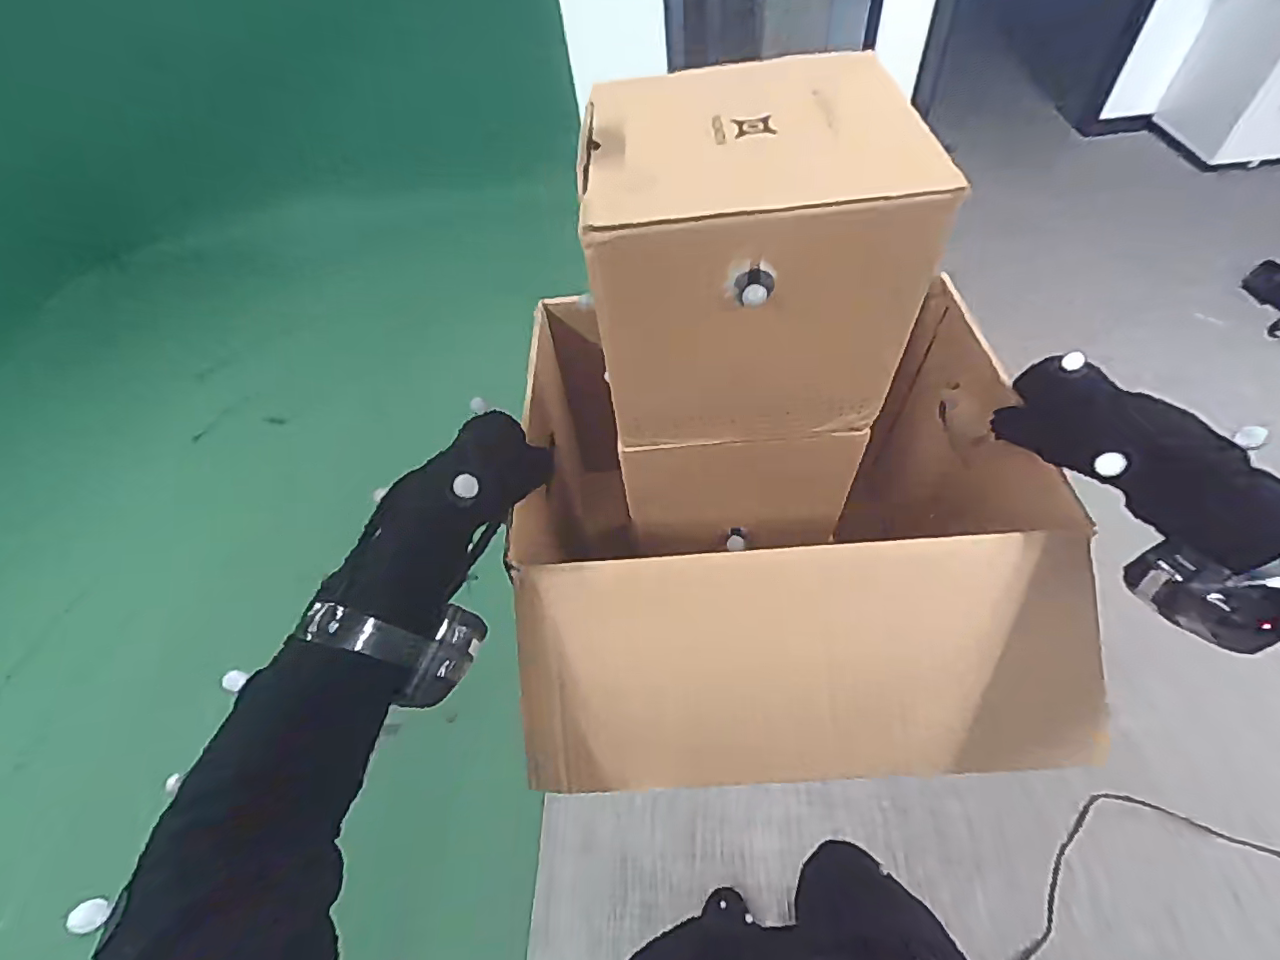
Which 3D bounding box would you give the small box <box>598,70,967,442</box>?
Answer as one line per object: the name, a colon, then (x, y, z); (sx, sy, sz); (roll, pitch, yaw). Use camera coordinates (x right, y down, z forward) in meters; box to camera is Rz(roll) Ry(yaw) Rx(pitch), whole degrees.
small box: (0.071, -0.139, 0.364); (0.179, 0.176, 0.168); (-4, 55, 2)
